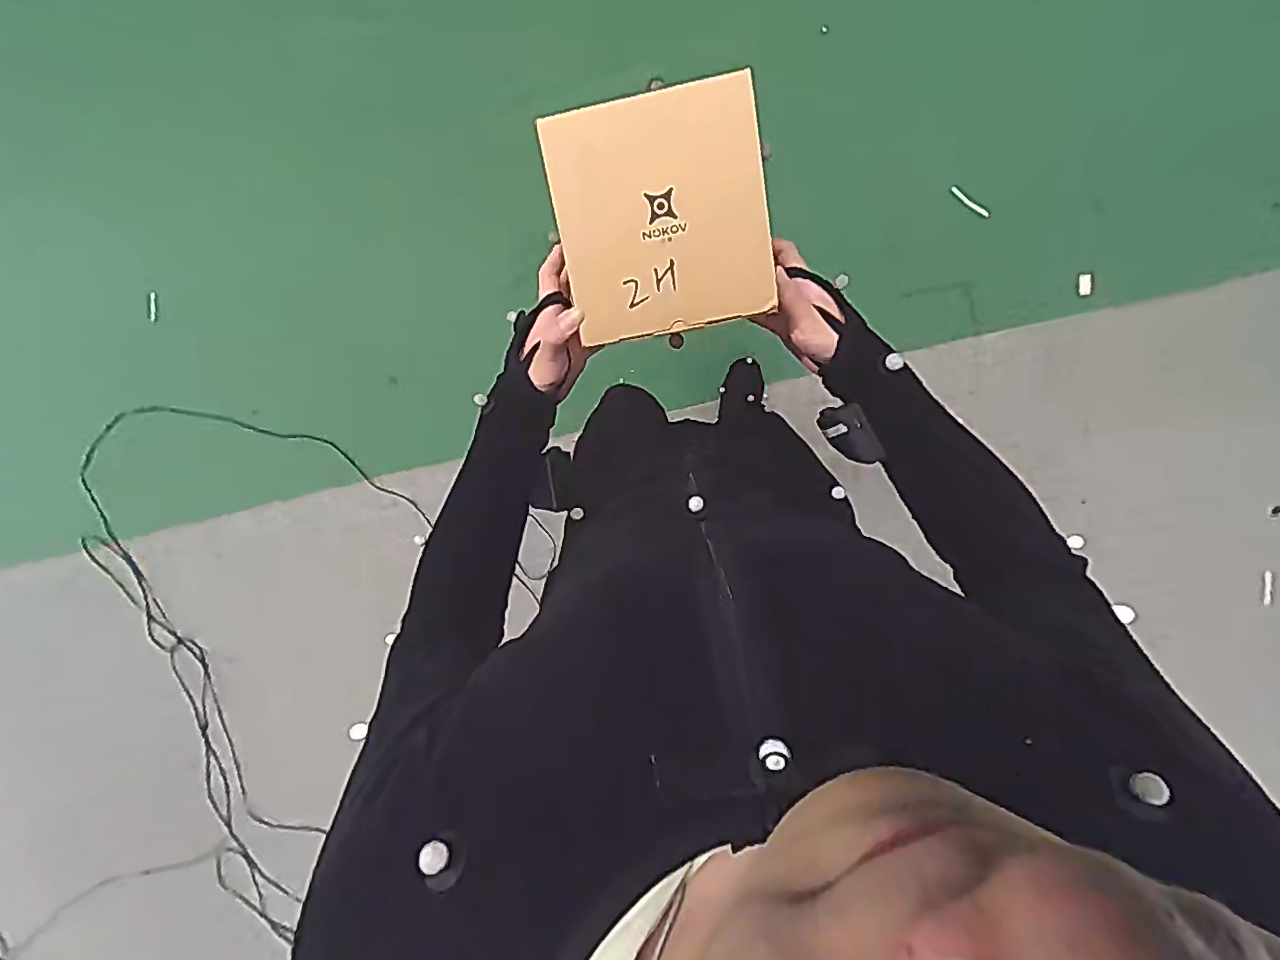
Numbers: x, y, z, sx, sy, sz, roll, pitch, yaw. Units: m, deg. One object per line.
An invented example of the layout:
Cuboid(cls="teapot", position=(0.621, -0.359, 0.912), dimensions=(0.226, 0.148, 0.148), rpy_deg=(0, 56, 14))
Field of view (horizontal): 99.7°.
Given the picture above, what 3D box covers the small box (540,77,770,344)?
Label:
Cuboid(cls="small box", position=(0.017, -0.230, 0.511), dimensions=(0.168, 0.176, 0.179), rpy_deg=(-9, 105, 5))
